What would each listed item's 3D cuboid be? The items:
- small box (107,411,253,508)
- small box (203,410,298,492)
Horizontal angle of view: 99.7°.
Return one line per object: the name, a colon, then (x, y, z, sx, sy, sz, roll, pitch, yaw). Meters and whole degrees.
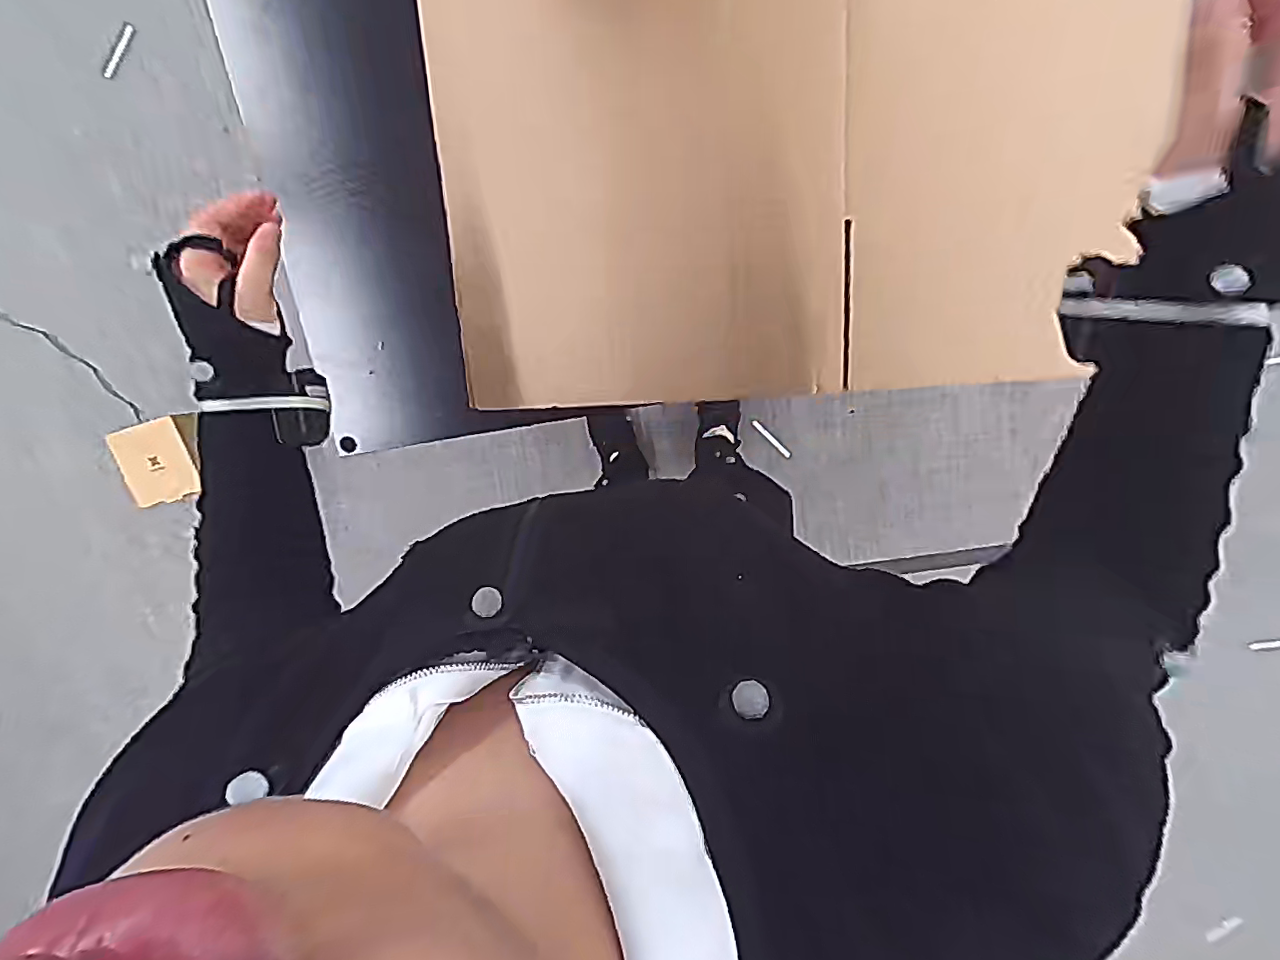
small box: (-1.062, -0.055, 1.267, 0.168, 0.176, 0.179, -16, 100, 5)
small box: (-1.053, -0.084, 1.427, 0.168, 0.176, 0.179, -13, 102, 5)
